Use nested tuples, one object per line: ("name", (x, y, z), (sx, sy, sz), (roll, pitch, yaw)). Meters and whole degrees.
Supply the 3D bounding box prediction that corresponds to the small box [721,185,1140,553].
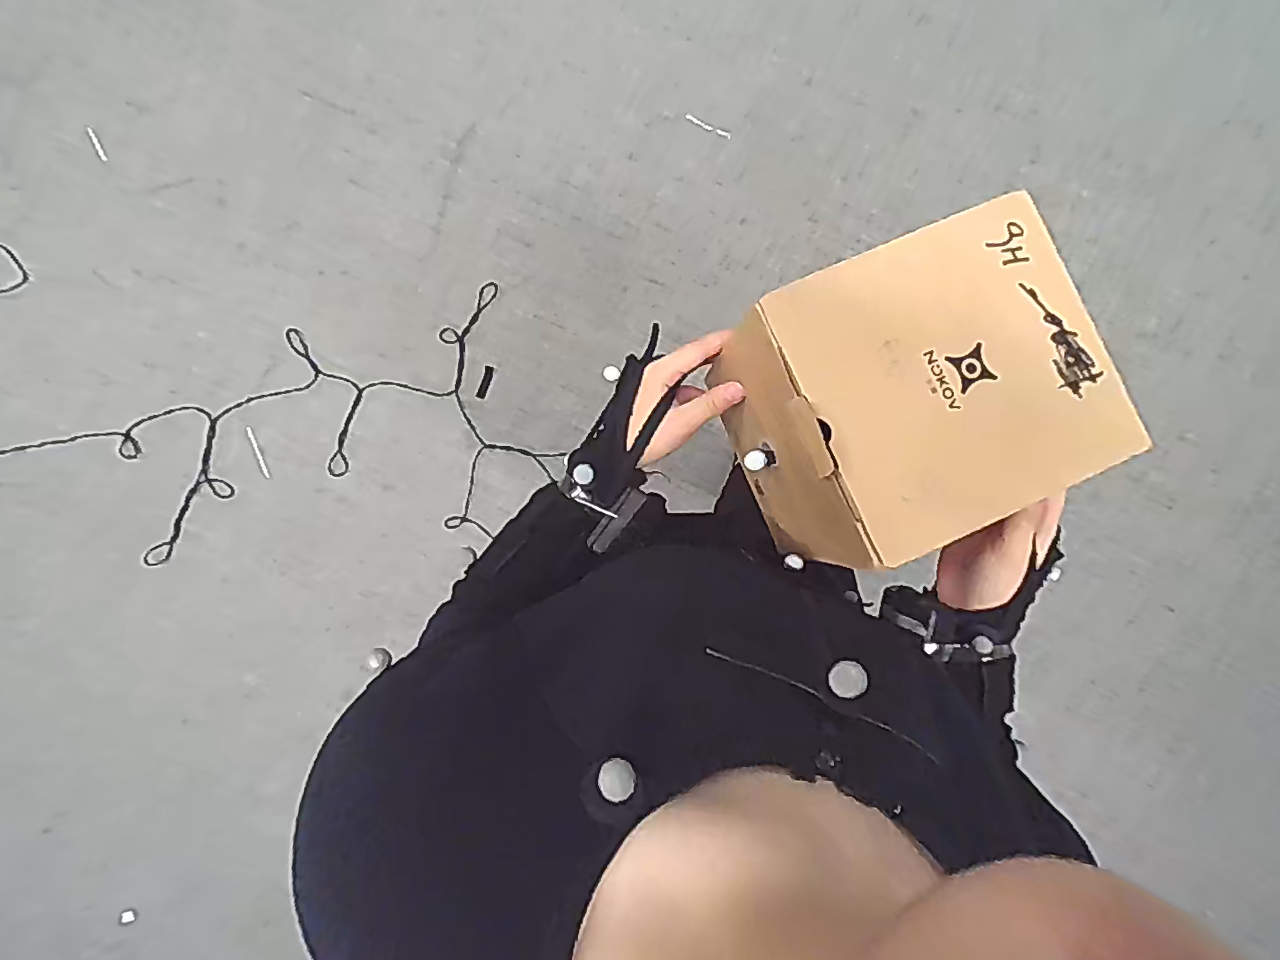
("small box", (0.170, -0.058, 0.384), (0.179, 0.176, 0.168), (-24, 87, -4))
